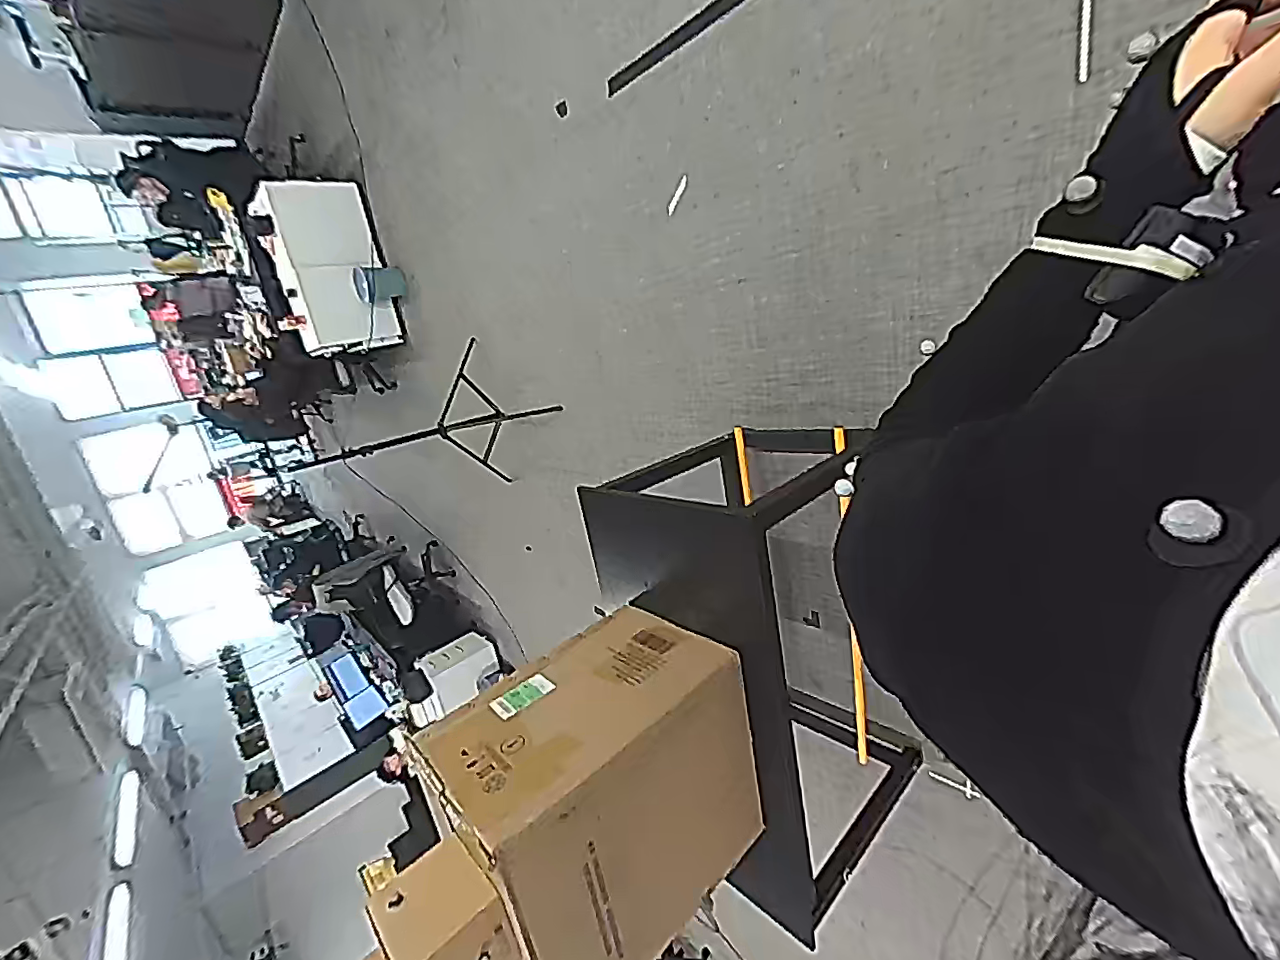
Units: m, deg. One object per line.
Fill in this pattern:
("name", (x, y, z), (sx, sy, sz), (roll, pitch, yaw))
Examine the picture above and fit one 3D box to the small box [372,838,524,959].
("small box", (-0.323, 0.760, 0.922), (0.179, 0.176, 0.168), (11, 118, 47))
